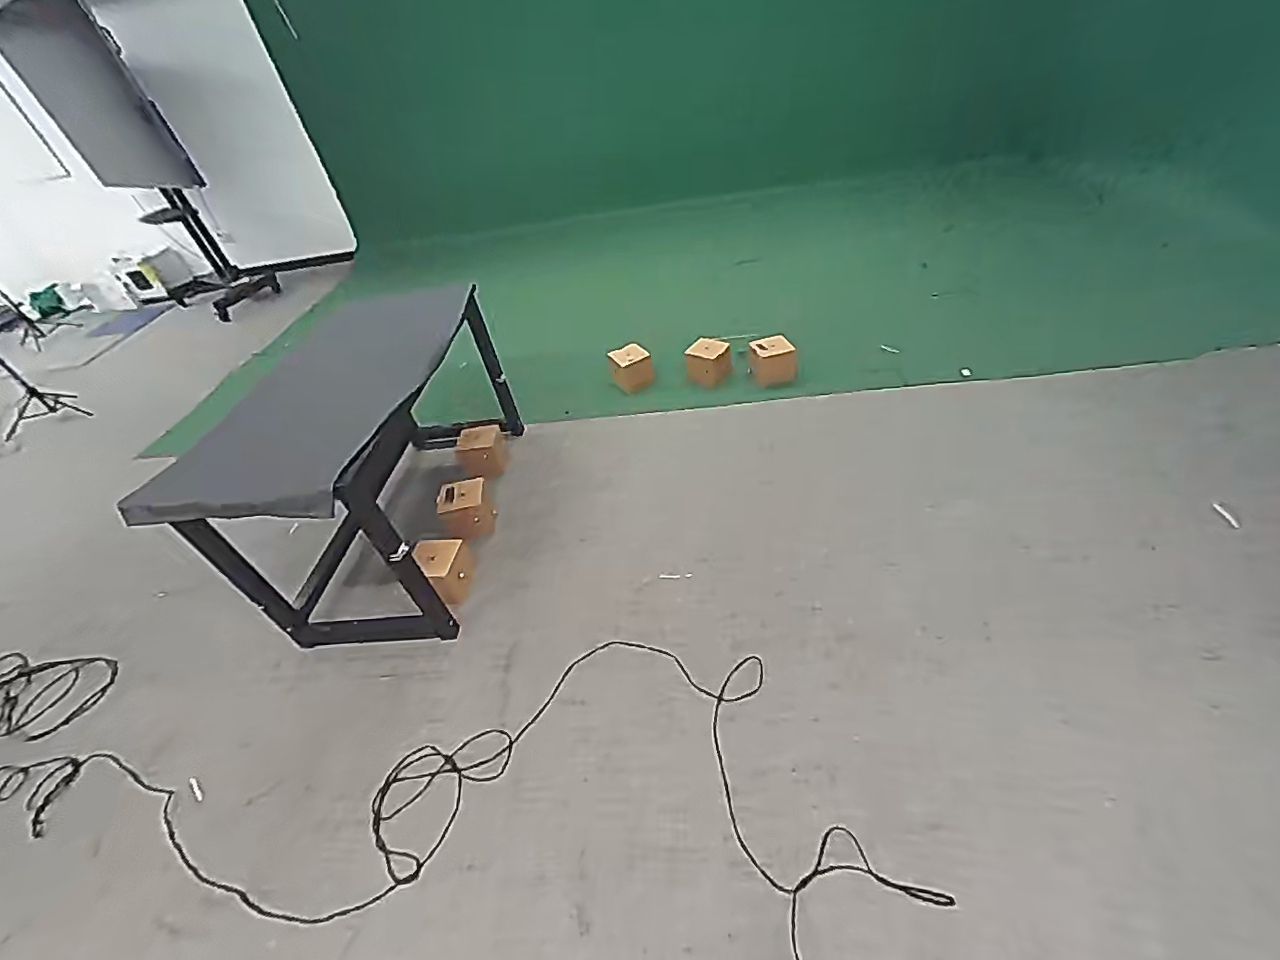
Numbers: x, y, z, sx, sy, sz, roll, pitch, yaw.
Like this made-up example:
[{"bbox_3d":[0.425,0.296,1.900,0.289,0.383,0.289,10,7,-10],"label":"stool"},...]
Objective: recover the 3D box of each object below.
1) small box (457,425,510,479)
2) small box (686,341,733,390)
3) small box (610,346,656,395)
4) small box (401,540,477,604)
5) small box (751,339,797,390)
[{"bbox_3d":[-0.700,-0.125,2.446,0.179,0.176,0.168,-8,41,4],"label":"small box"},{"bbox_3d":[0.355,-0.573,2.717,0.179,0.176,0.168,22,50,33],"label":"small box"},{"bbox_3d":[-0.034,-0.566,2.797,0.168,0.176,0.179,-26,43,-16],"label":"small box"},{"bbox_3d":[-0.712,0.334,1.943,0.179,0.176,0.168,-2,43,11],"label":"small box"},{"bbox_3d":[0.652,-0.560,2.636,0.179,0.176,0.168,-14,42,-5],"label":"small box"}]
